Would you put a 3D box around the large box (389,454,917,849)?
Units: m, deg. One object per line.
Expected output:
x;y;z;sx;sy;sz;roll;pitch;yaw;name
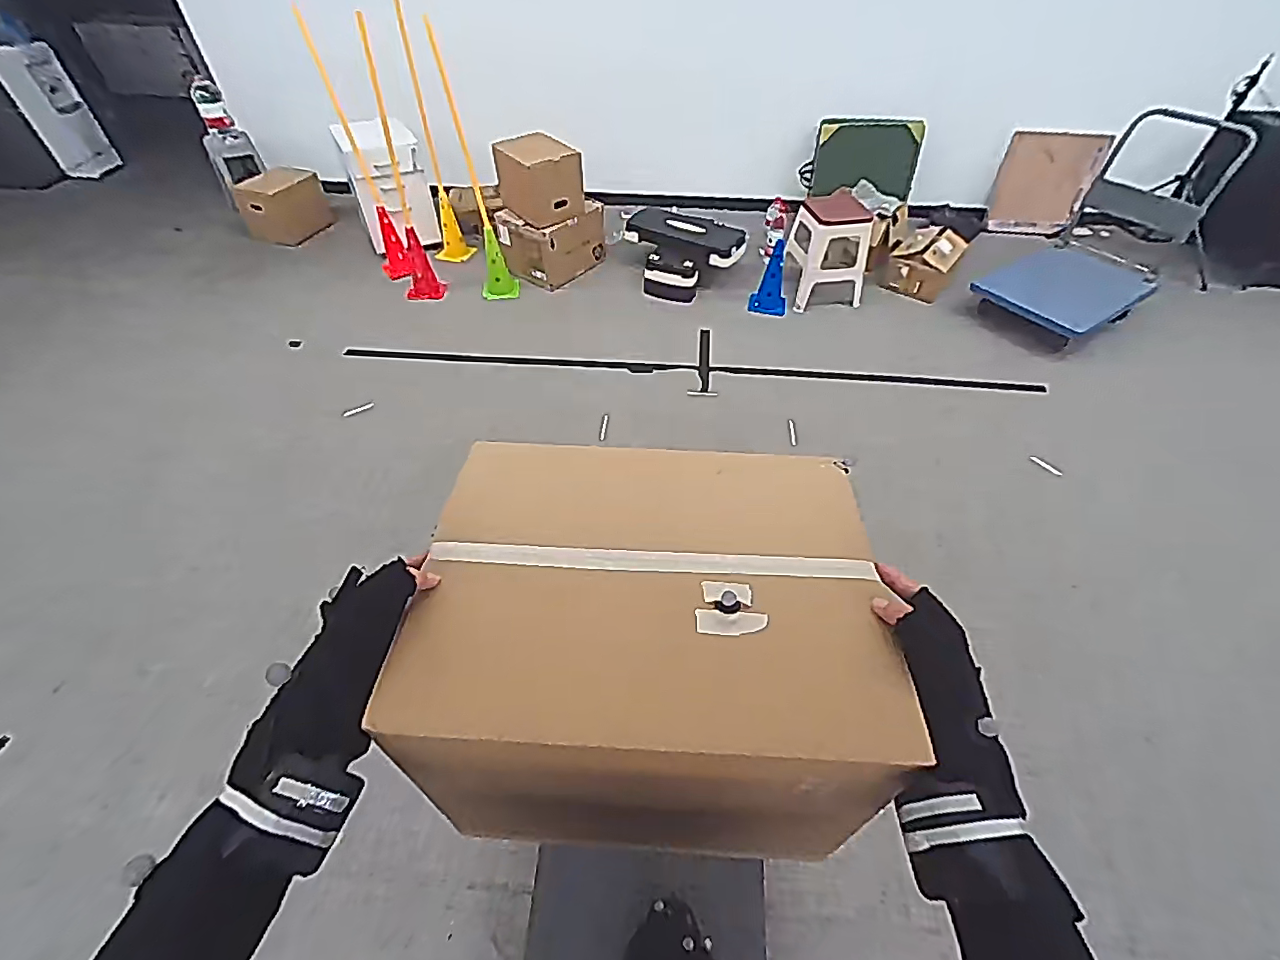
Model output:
0.010;0.190;0.608;0.408;0.320;0.320;3;45;2;large box
